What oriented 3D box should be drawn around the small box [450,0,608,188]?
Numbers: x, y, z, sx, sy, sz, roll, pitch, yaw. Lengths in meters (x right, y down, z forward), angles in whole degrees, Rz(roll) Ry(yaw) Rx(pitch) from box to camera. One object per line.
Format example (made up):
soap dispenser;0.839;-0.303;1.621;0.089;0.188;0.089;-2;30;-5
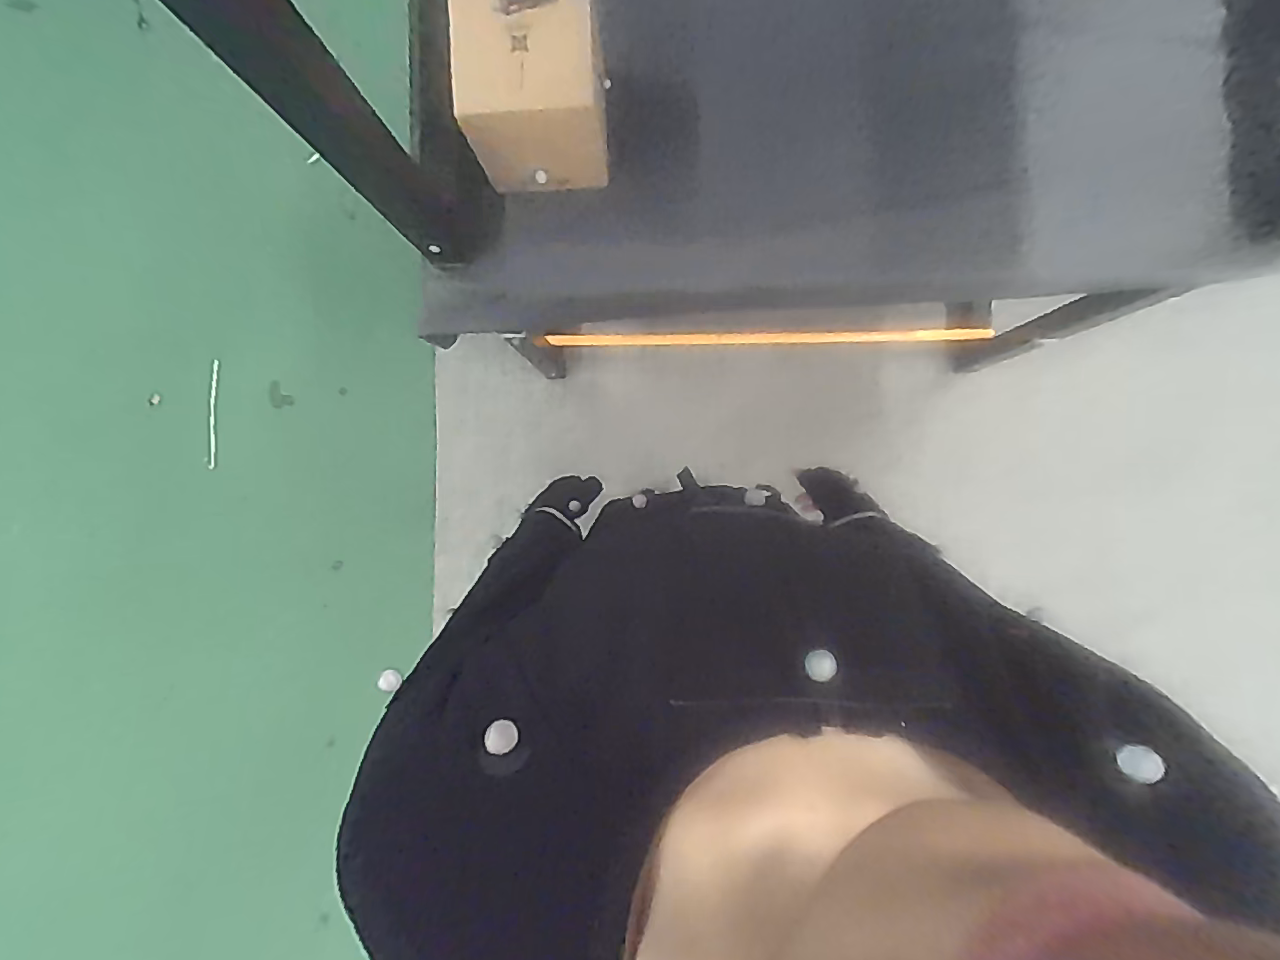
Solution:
small box;-0.133;-0.509;0.694;0.168;0.176;0.179;-3;89;3
